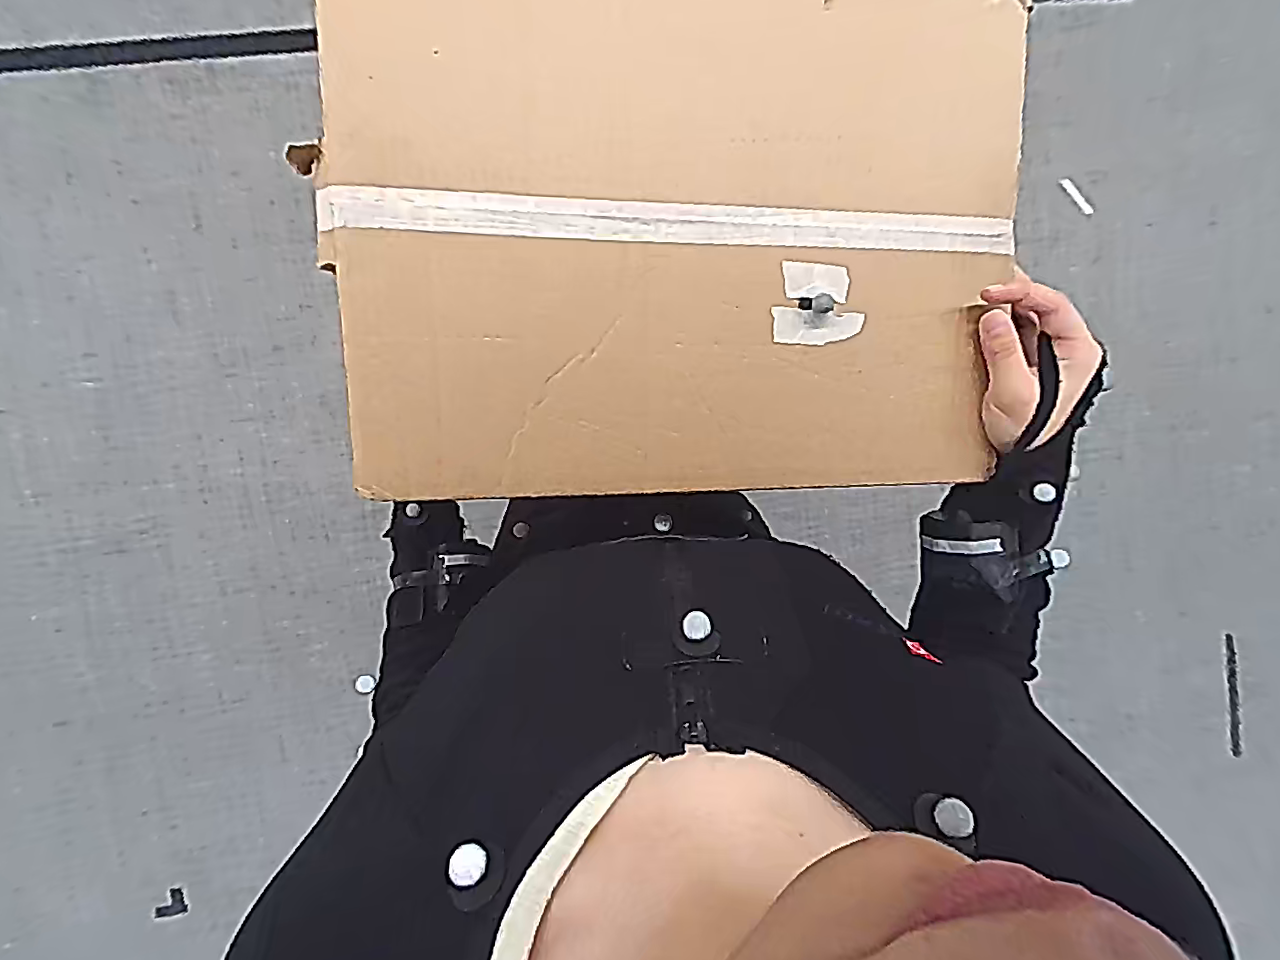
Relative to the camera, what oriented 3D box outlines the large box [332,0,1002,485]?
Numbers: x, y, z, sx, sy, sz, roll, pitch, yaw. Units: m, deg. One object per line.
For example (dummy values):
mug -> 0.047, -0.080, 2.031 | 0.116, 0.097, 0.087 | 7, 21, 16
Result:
large box -> 0.009, -0.175, 0.469 | 0.408, 0.320, 0.320 | -2, 98, -11
